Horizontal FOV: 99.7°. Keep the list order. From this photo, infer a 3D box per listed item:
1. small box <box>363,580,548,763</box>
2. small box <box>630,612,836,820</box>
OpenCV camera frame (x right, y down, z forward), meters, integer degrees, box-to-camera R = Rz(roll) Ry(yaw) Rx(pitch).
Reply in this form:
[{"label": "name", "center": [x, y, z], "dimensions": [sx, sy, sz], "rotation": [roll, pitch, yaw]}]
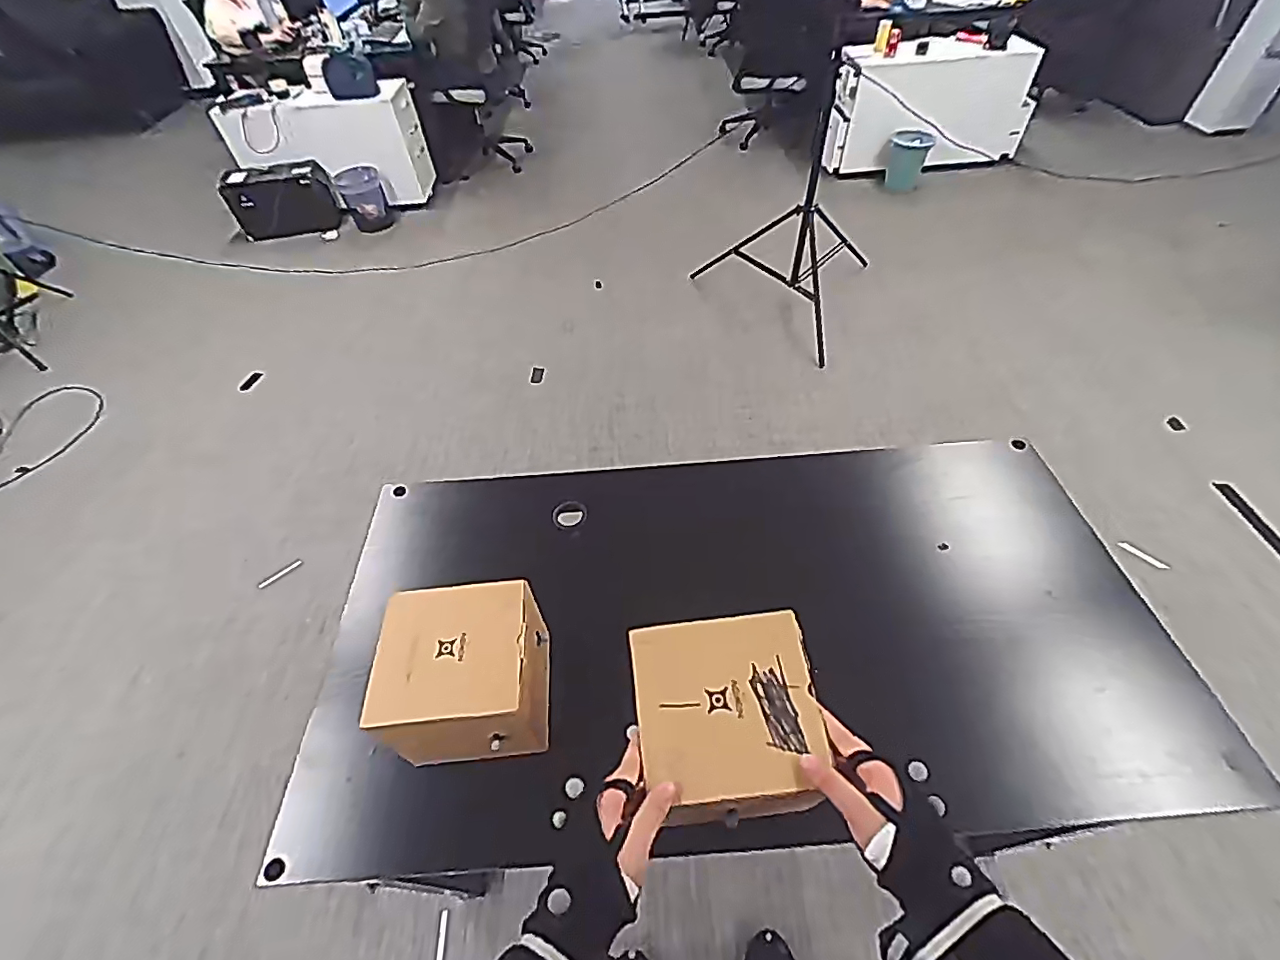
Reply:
[{"label": "small box", "center": [-0.218, 0.249, 0.698], "dimensions": [0.179, 0.176, 0.168], "rotation": [-7, 49, -1]}, {"label": "small box", "center": [0.086, 0.259, 0.586], "dimensions": [0.179, 0.176, 0.168], "rotation": [-7, 53, 0]}]
